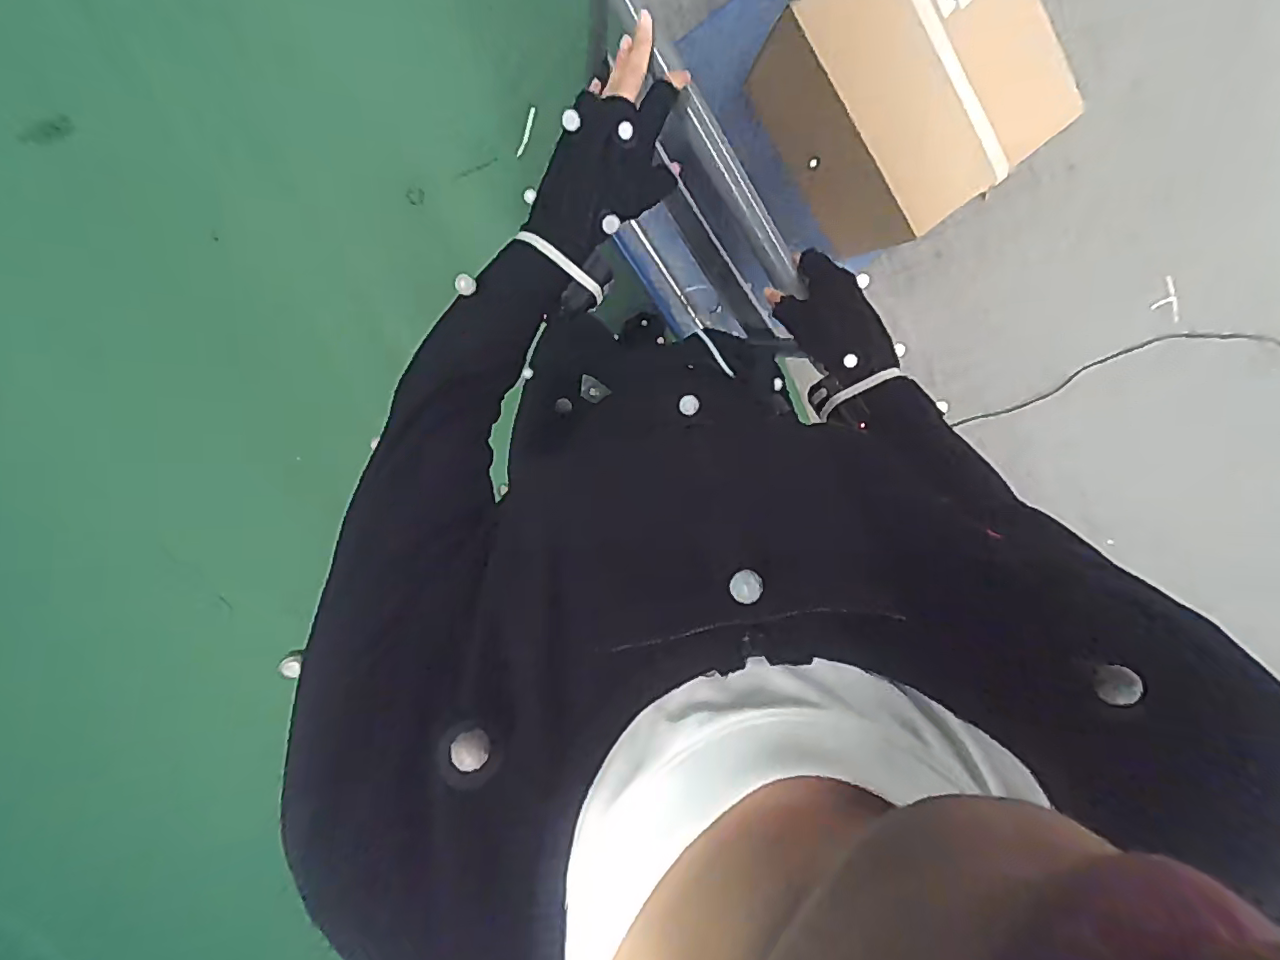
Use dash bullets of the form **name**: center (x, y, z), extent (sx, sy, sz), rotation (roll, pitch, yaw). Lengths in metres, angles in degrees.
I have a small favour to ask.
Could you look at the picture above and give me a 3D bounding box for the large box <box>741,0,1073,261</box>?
- **large box**: center (0.442, -0.672, 0.972), extent (0.320, 0.320, 0.408), rotation (-36, 104, 7)
